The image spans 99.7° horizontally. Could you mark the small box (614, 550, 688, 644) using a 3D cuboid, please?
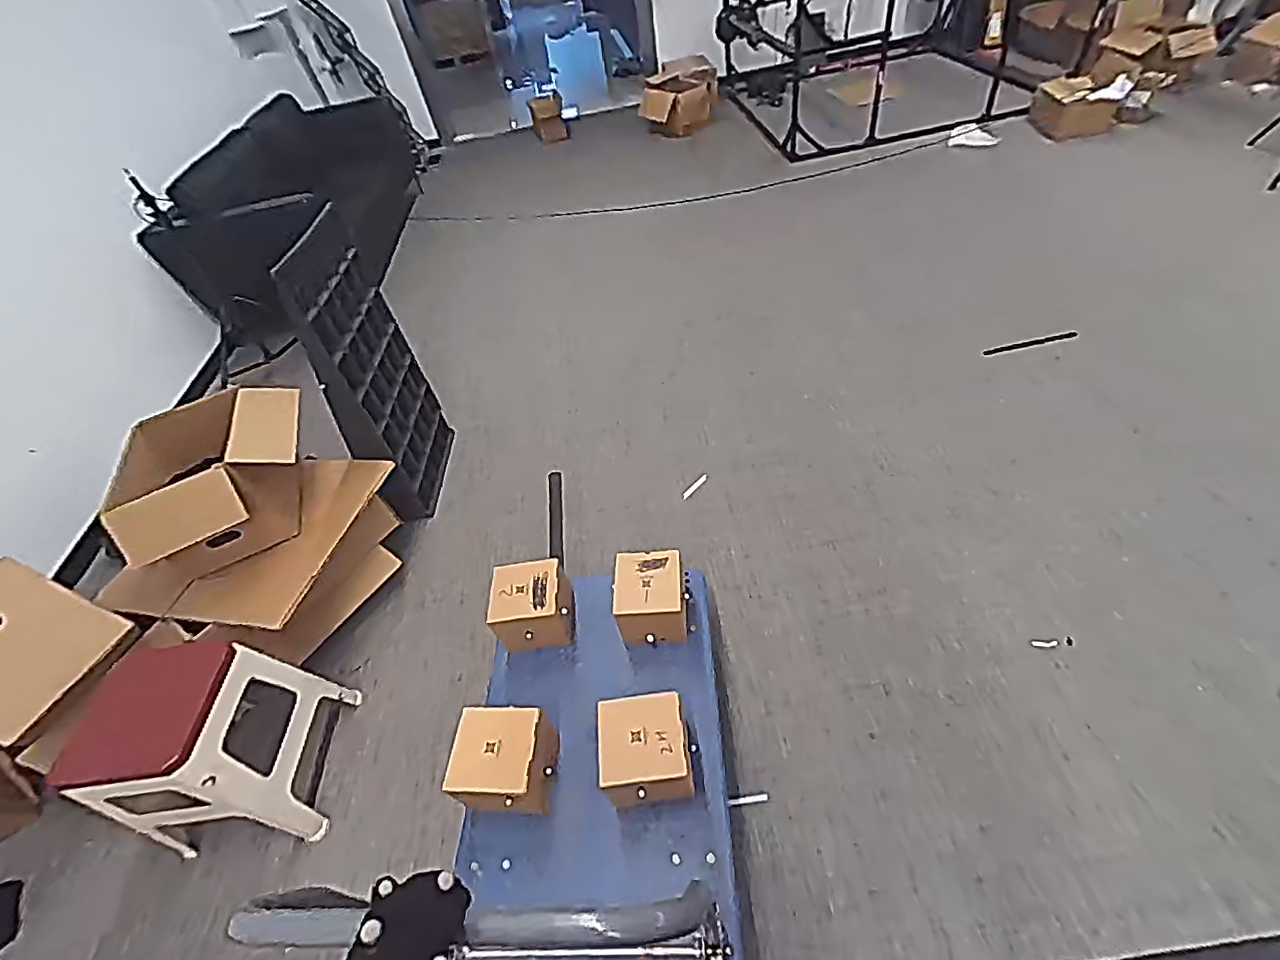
[{"bbox_3d":[0.033,0.301,1.389,0.168,0.176,0.179,-5,48,8],"label":"small box"}]

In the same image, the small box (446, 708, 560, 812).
[{"bbox_3d":[-0.287,0.610,1.174,0.179,0.176,0.168,-3,47,7],"label":"small box"}]

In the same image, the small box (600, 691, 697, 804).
[{"bbox_3d":[0.018,0.570,1.146,0.179,0.176,0.168,-9,47,3],"label":"small box"}]
